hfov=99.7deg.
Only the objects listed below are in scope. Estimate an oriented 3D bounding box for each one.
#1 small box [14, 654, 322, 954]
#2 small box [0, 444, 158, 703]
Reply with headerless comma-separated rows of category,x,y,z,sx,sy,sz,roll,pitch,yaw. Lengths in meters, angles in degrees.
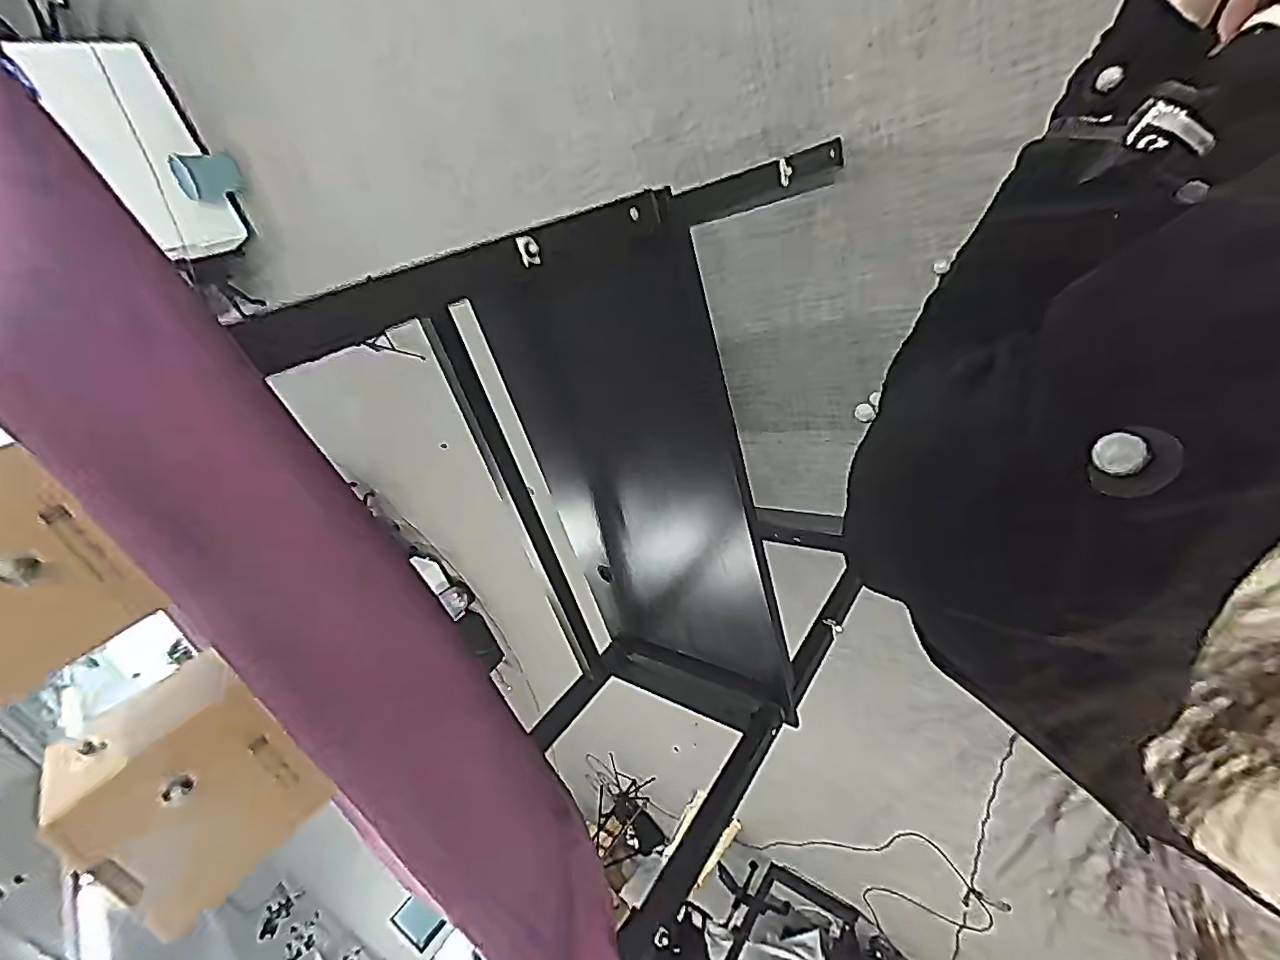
small box,-0.464,0.307,0.553,0.179,0.176,0.168,2,121,44
small box,-0.532,0.083,0.430,0.179,0.176,0.168,-2,120,46
